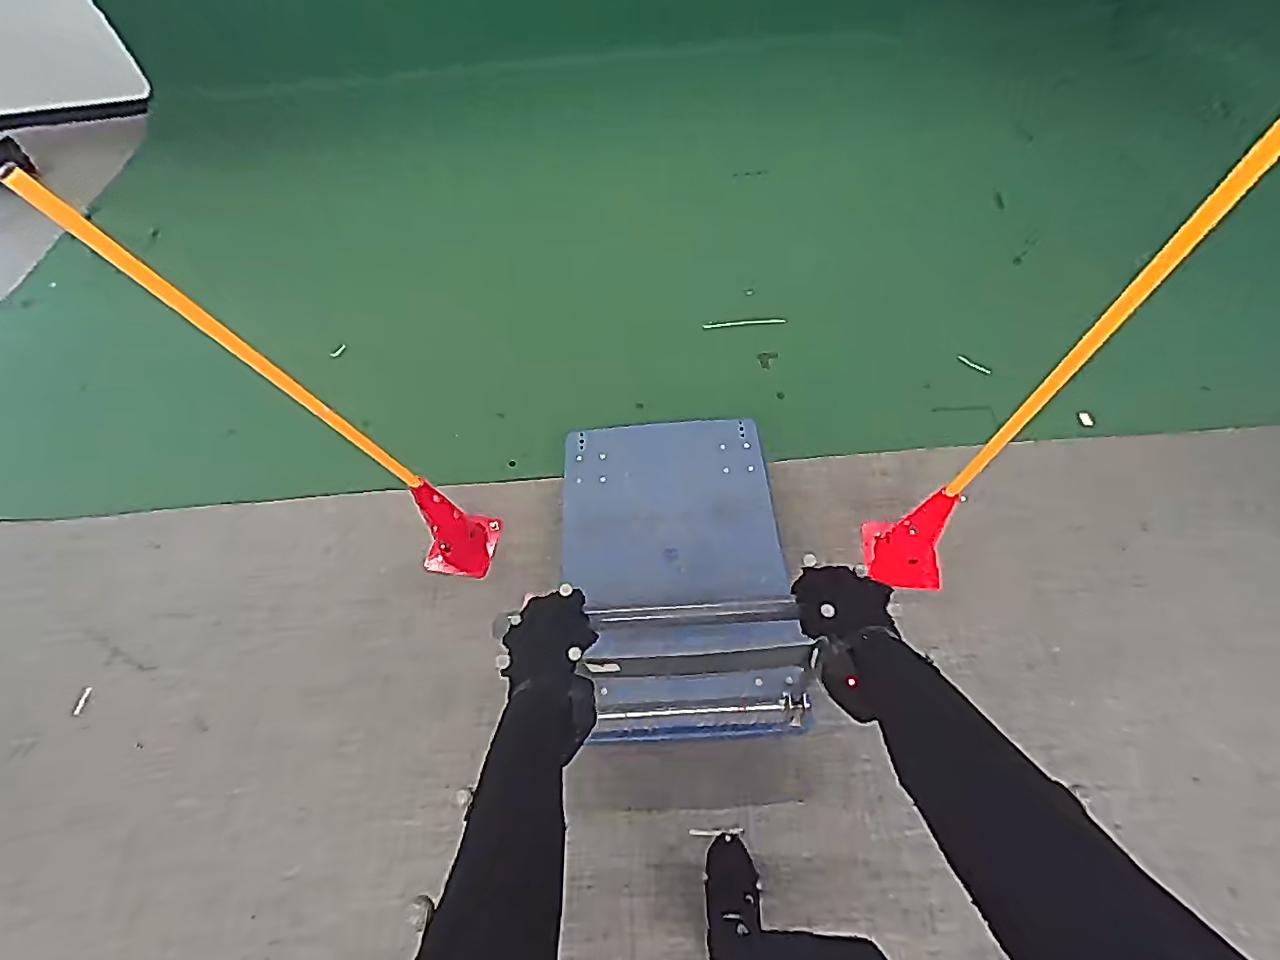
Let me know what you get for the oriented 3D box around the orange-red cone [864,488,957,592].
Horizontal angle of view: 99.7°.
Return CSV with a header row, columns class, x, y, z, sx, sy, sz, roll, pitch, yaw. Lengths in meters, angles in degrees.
class,x,y,z,sx,sy,sz,roll,pitch,yaw
orange-red cone,0.730,0.127,1.395,0.198,0.360,0.199,5,59,9
